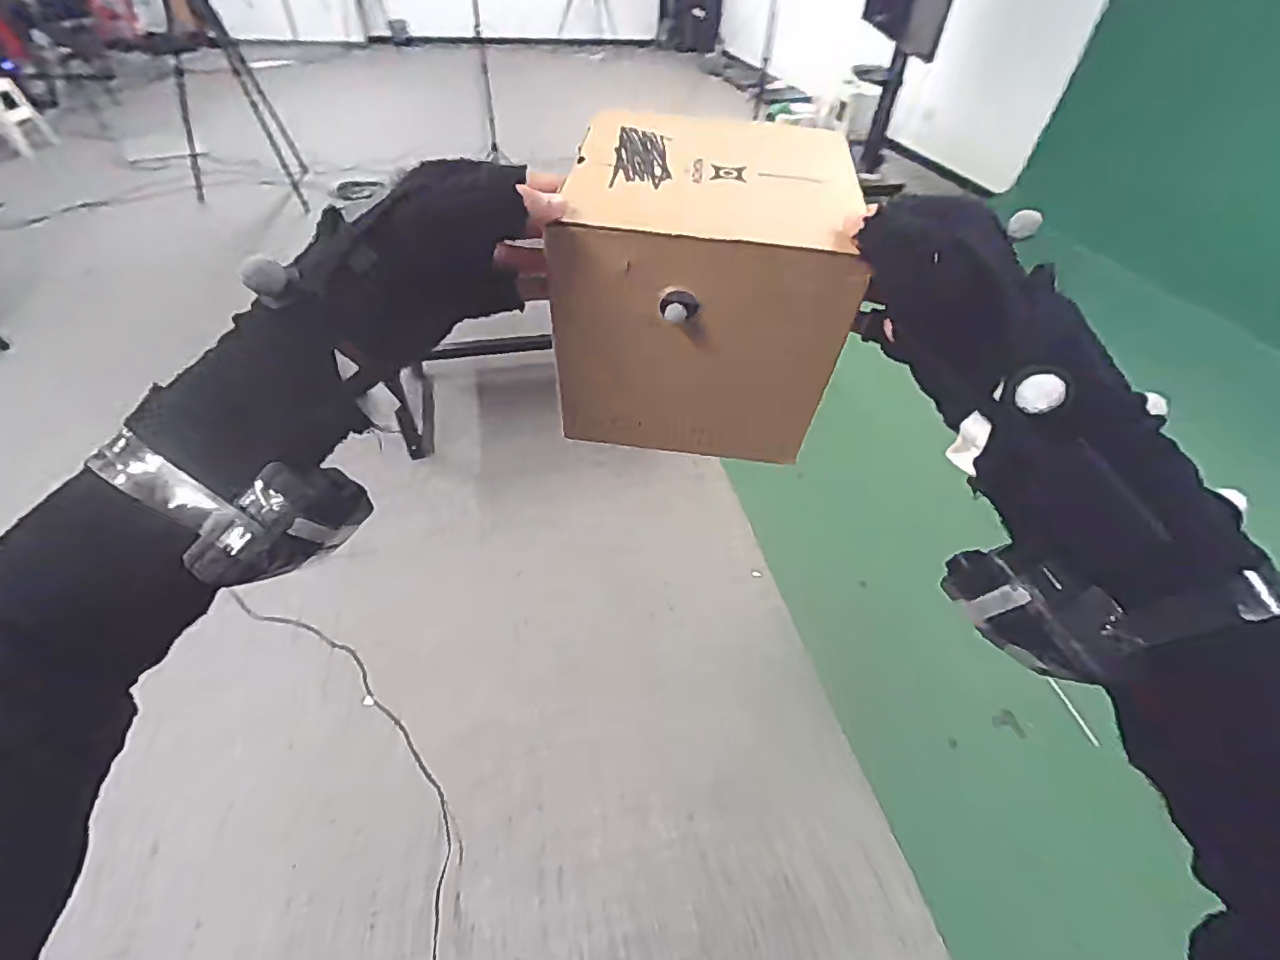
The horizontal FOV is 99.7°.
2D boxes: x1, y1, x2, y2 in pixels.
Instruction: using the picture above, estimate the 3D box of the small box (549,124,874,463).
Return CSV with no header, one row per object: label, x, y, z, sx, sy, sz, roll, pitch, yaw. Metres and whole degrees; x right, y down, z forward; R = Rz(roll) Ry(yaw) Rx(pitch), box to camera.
small box,0.043,-0.130,0.394,0.179,0.176,0.168,7,51,2
